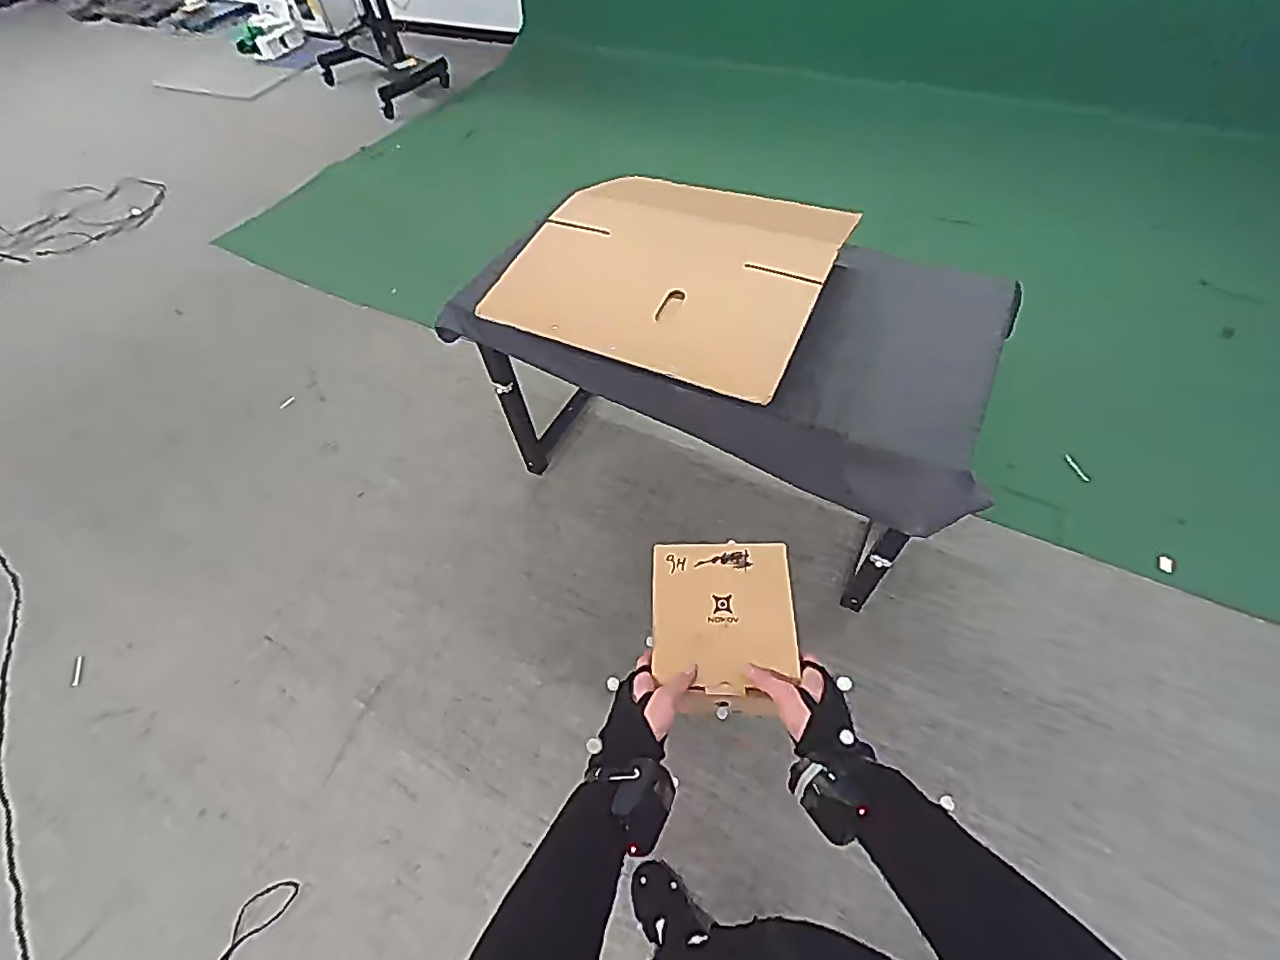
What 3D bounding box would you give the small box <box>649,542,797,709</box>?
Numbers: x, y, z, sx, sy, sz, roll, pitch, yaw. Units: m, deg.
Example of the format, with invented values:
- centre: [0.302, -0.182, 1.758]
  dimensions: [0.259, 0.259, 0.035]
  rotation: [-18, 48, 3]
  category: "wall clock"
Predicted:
- centre: [0.101, 0.198, 0.708]
  dimensions: [0.168, 0.176, 0.179]
  rotation: [-4, 58, 4]
  category: "small box"
